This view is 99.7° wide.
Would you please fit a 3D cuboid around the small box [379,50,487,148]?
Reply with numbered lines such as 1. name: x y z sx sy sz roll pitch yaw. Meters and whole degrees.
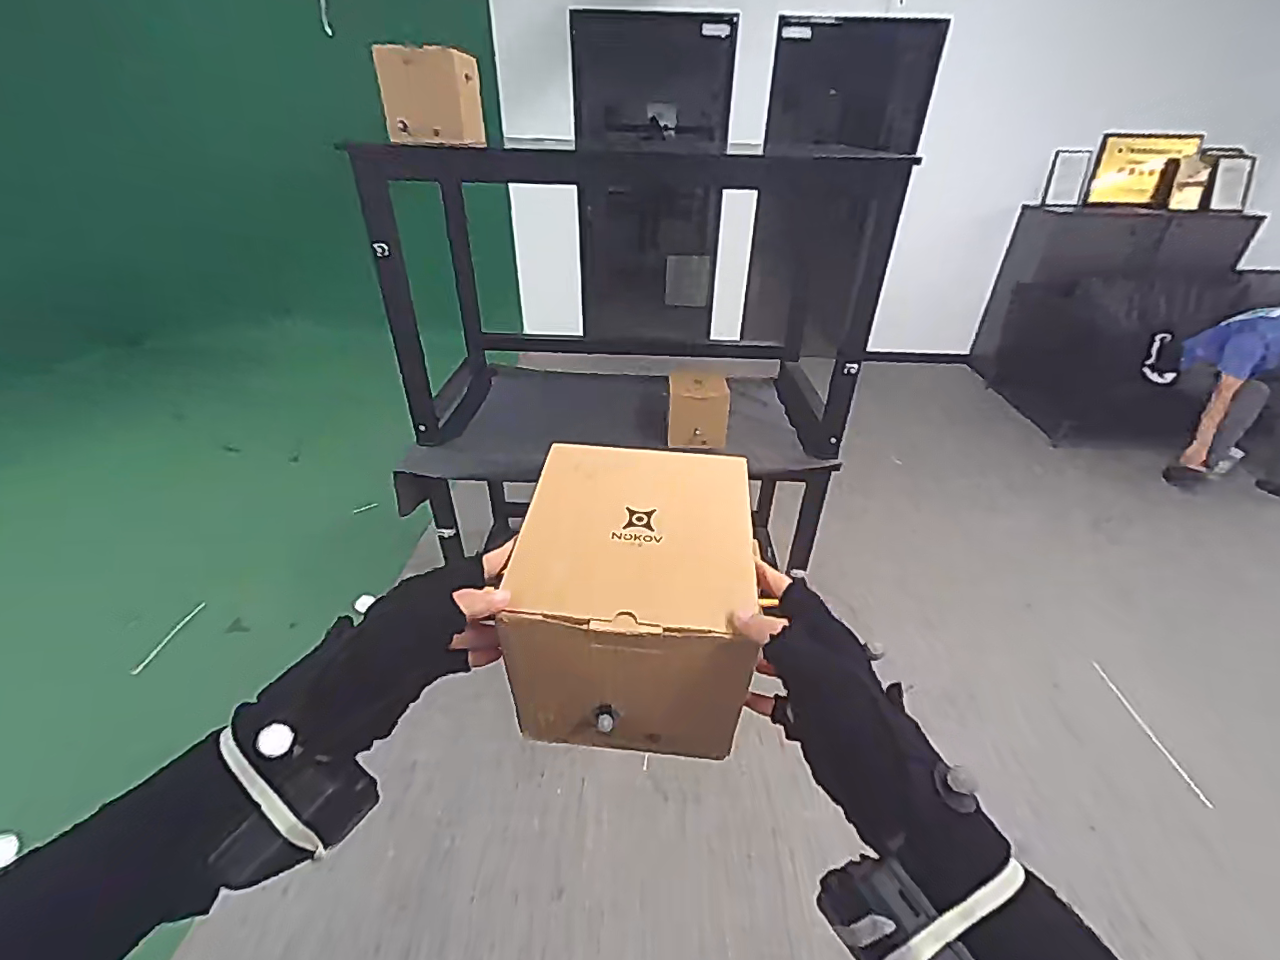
1. small box: -0.448 -0.840 1.204 0.168 0.176 0.179 2 32 -1

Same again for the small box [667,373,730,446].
1. small box: 0.166 -0.203 1.591 0.168 0.176 0.179 1 32 1

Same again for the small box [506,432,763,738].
1. small box: -0.001 0.083 0.449 0.168 0.176 0.179 4 40 3
